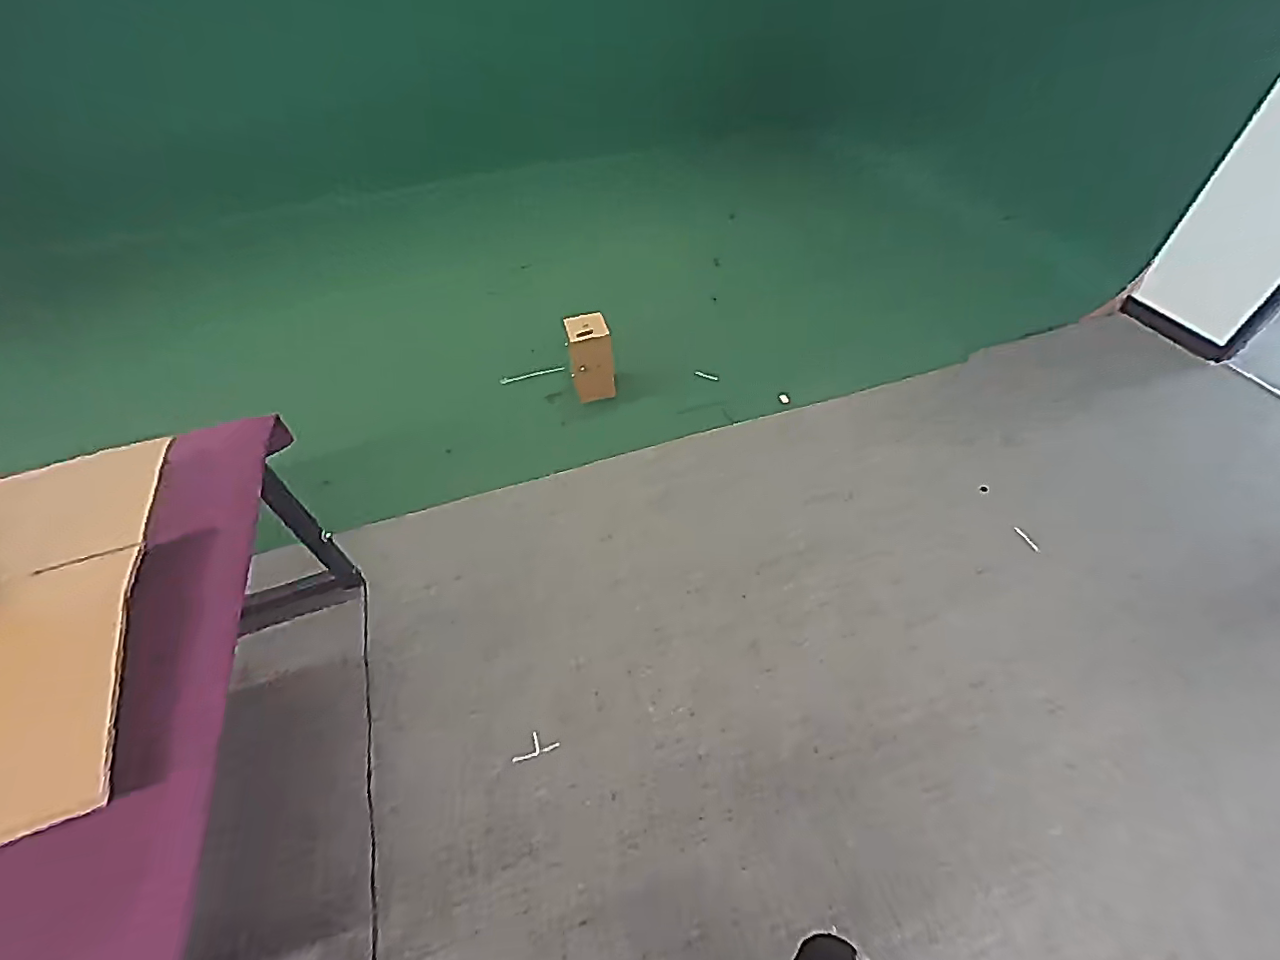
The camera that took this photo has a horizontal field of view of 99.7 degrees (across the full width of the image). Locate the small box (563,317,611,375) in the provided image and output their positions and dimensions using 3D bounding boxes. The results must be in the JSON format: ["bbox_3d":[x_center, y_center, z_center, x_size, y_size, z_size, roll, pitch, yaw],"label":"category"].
[{"bbox_3d":[-0.226,-0.566,2.311,0.168,0.176,0.179,-13,50,-9],"label":"small box"}]

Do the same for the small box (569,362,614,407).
[{"bbox_3d":[-0.220,-0.459,2.436,0.168,0.176,0.179,-14,50,-9],"label":"small box"}]
